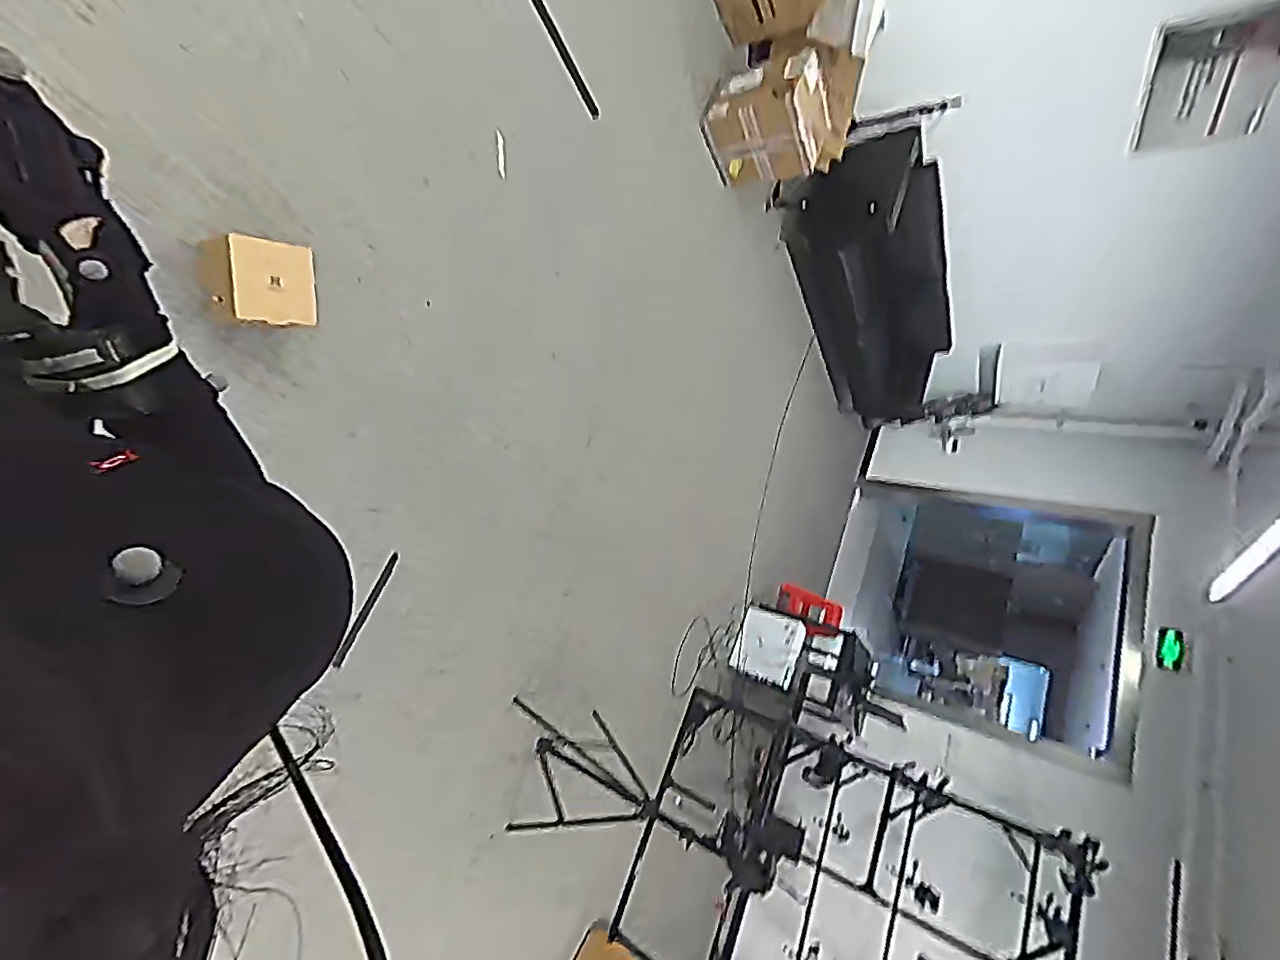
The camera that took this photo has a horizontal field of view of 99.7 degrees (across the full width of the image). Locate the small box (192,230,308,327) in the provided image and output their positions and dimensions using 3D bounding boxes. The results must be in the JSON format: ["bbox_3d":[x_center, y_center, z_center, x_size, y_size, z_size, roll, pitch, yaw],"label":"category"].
[{"bbox_3d":[-0.882,-0.446,1.225,0.168,0.176,0.179,-12,108,-55],"label":"small box"}]
